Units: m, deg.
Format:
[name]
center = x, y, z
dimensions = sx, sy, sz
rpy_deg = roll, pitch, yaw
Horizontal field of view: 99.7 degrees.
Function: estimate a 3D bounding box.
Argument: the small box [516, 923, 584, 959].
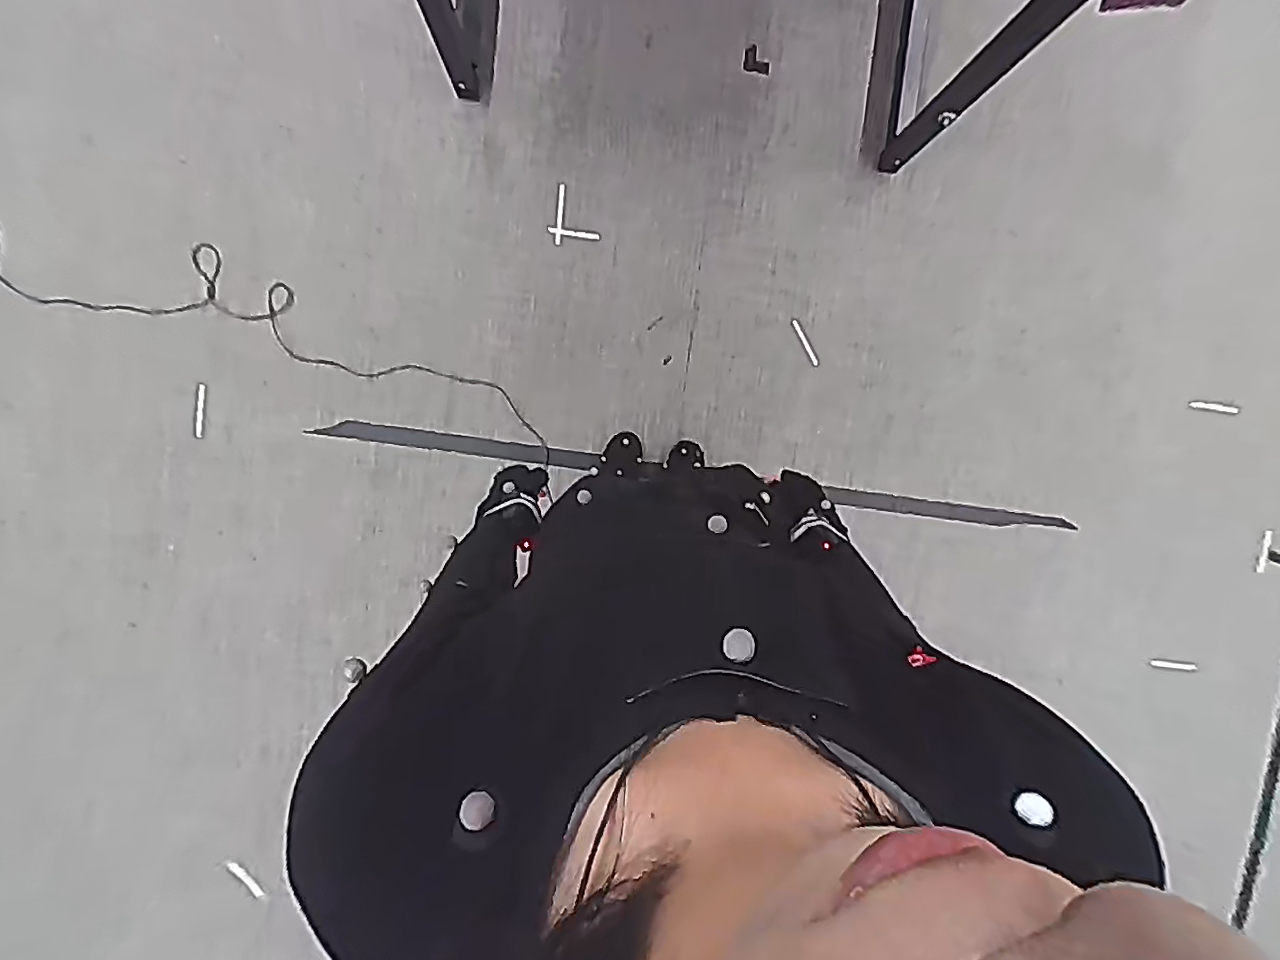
[small box]
center = -0.254, 1.409, 1.521
dimensions = 0.179, 0.176, 0.168
rpy_deg = -12, 96, -4
